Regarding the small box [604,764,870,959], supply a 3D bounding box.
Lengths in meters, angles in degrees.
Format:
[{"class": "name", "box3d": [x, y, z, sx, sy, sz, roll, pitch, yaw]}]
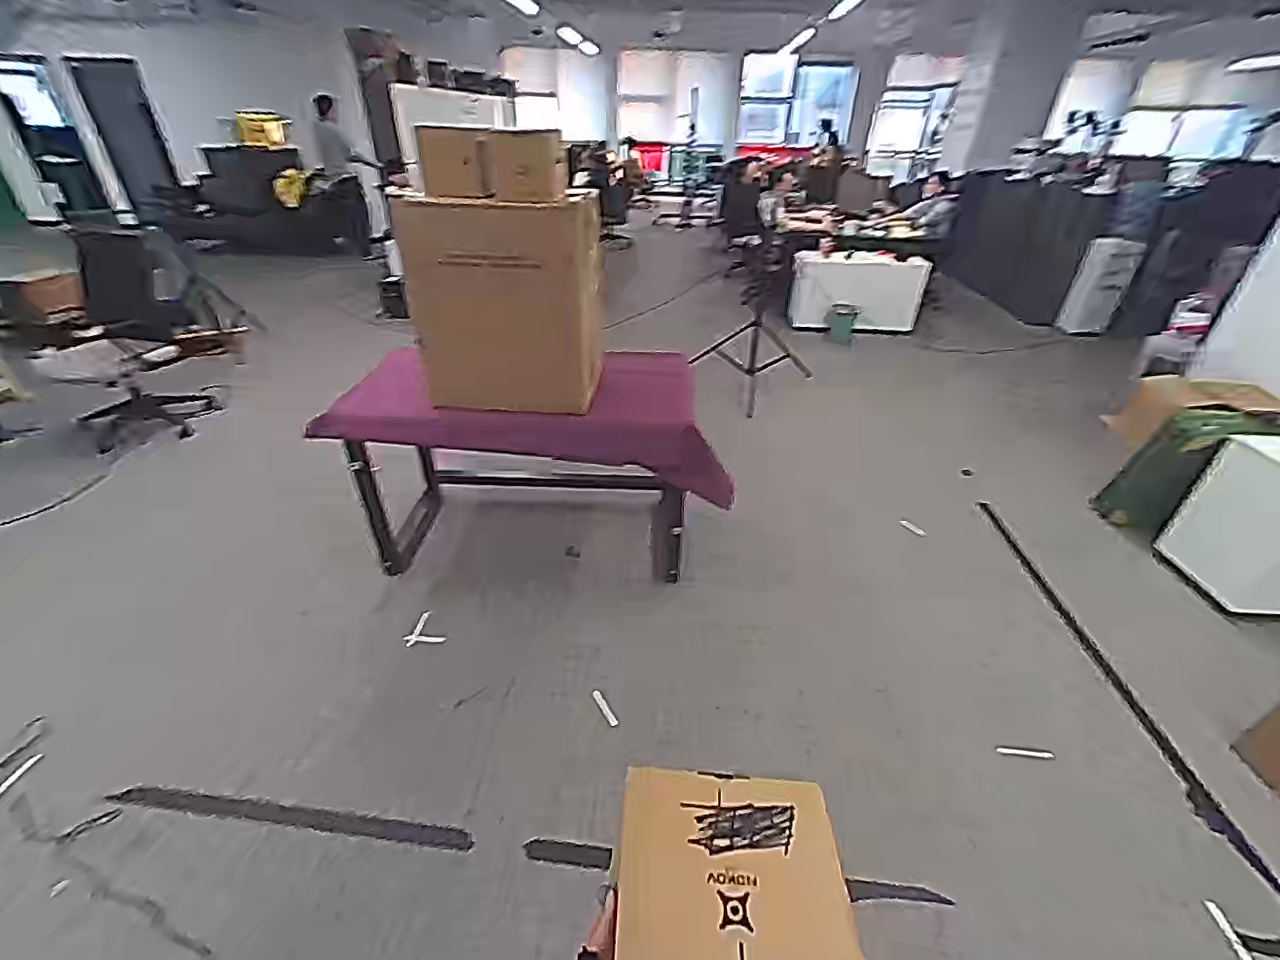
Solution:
[{"class": "small box", "box3d": [0.059, 0.355, 0.413, 0.168, 0.176, 0.179, 6, 30, -2]}]

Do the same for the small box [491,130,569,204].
[{"class": "small box", "box3d": [-0.295, -0.866, 1.494, 0.168, 0.176, 0.179, 3, 34, 4]}]

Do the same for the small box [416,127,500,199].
[{"class": "small box", "box3d": [-0.510, -0.908, 1.548, 0.179, 0.176, 0.168, 3, 33, 3]}]
